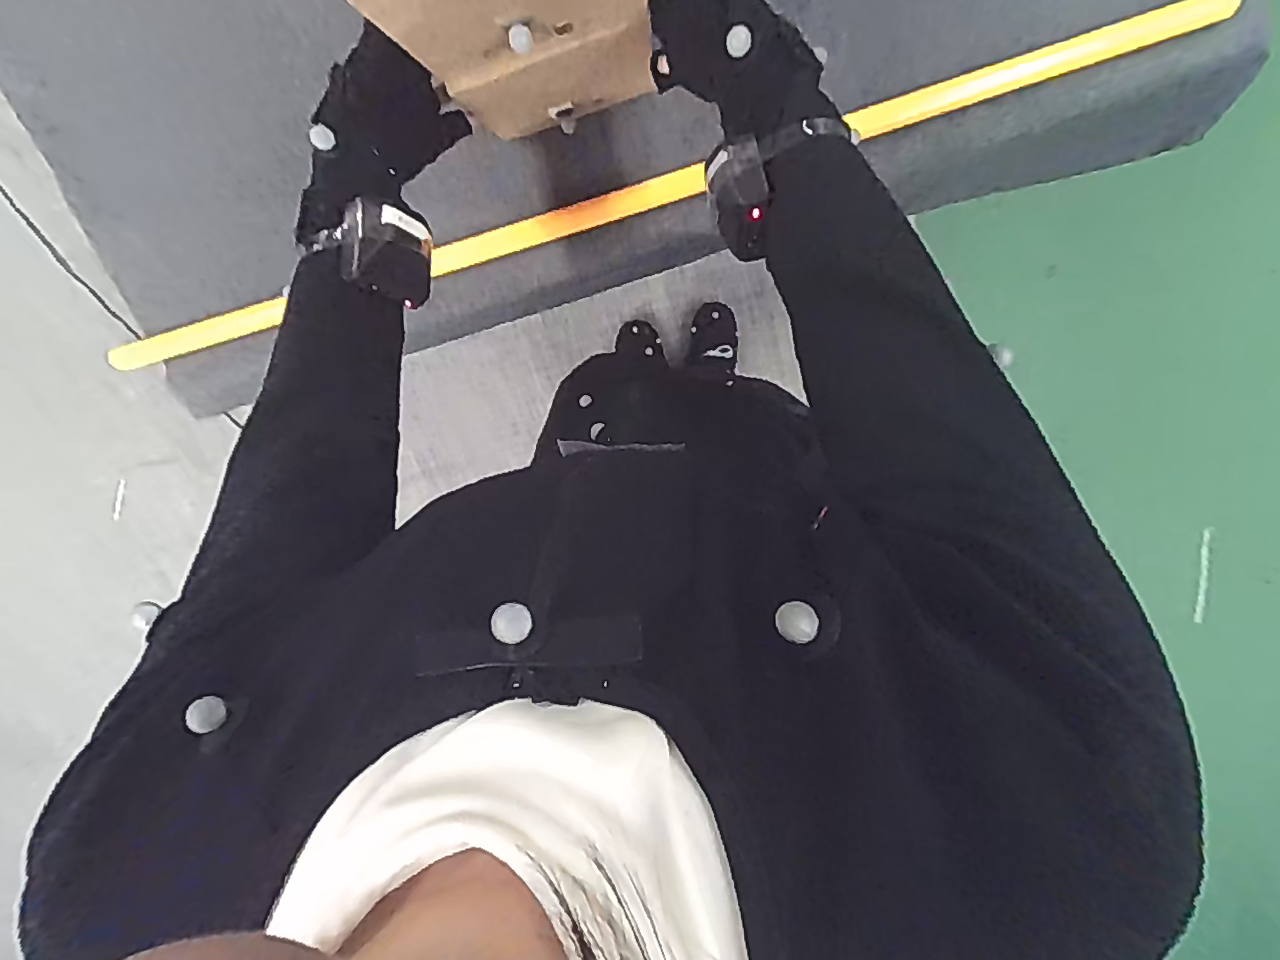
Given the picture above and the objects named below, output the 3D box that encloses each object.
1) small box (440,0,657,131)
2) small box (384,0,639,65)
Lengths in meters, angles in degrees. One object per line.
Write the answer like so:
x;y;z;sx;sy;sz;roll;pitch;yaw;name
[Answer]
-0.086;-0.429;0.451;0.168;0.176;0.179;-14;110;10;small box
-0.097;-0.376;0.295;0.168;0.176;0.179;-10;110;9;small box
